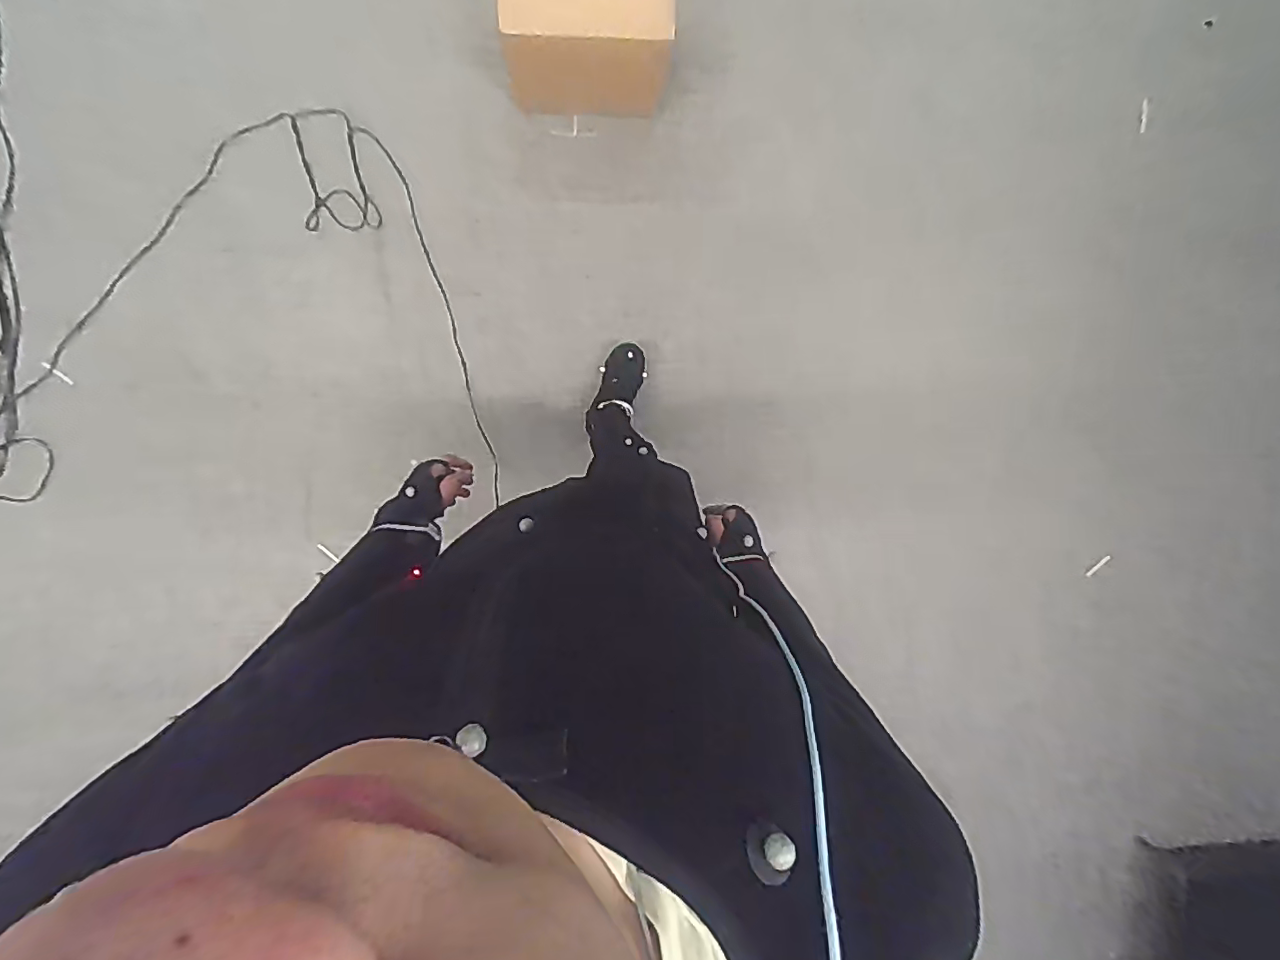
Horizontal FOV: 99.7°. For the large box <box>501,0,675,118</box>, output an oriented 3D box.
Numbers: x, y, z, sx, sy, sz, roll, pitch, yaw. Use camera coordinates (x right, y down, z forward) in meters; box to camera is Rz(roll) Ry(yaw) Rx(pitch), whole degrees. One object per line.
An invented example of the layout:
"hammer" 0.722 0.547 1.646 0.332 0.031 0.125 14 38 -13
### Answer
"large box" -0.137 -1.178 1.388 0.408 0.320 0.320 -3 95 -5
